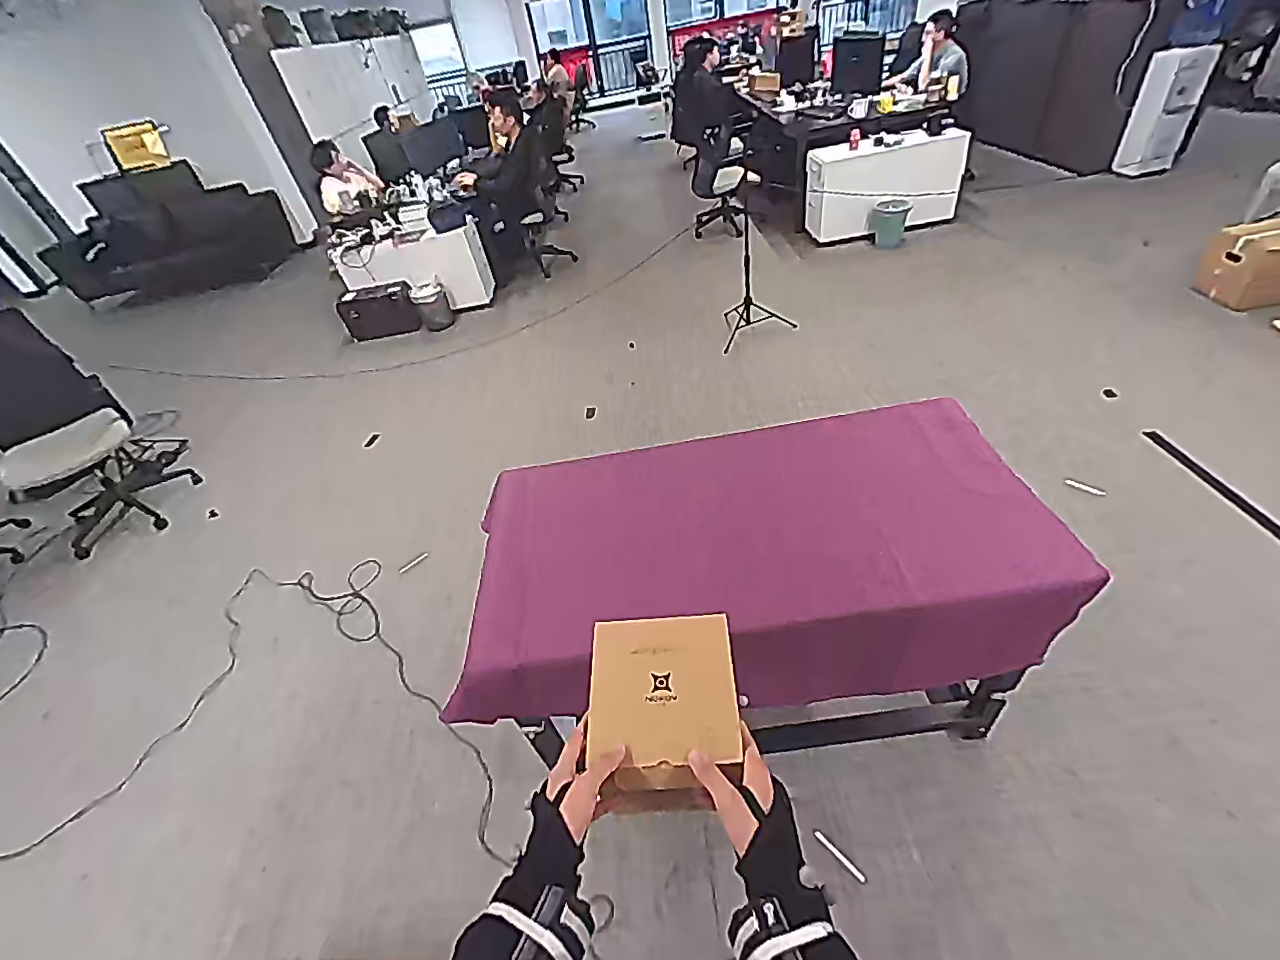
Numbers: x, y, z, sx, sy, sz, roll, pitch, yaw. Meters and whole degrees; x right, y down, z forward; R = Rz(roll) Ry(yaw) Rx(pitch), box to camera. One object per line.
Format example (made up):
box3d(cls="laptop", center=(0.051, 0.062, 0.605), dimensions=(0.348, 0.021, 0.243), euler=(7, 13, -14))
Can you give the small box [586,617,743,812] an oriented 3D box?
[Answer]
box3d(cls="small box", center=(0.036, 0.291, 0.663), dimensions=(0.168, 0.176, 0.179), euler=(-4, 44, 5))
